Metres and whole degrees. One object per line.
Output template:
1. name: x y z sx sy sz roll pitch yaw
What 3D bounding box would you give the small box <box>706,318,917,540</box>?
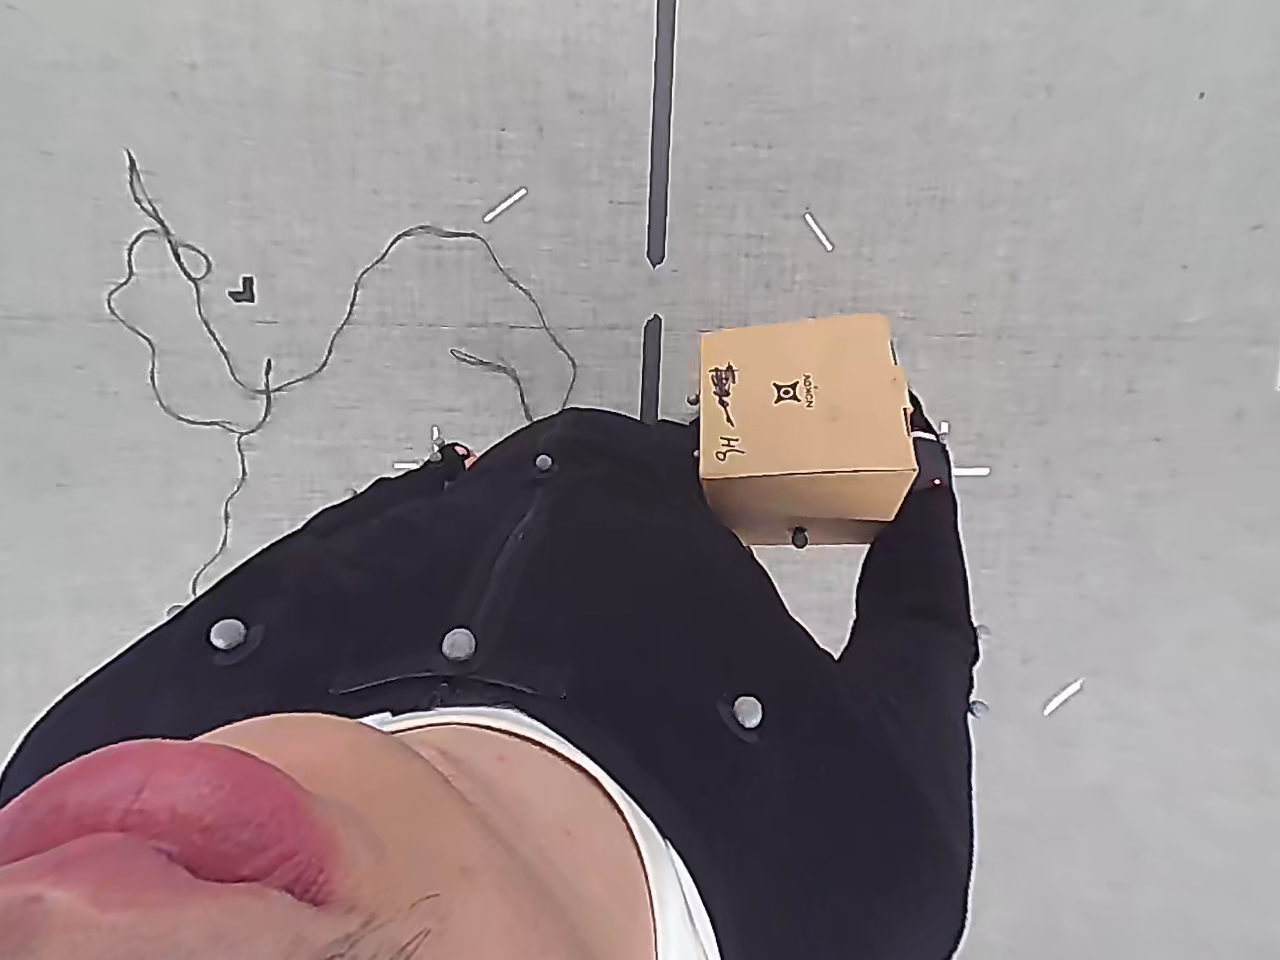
1. small box: 0.163 -0.043 0.565 0.179 0.176 0.168 -3 61 12
